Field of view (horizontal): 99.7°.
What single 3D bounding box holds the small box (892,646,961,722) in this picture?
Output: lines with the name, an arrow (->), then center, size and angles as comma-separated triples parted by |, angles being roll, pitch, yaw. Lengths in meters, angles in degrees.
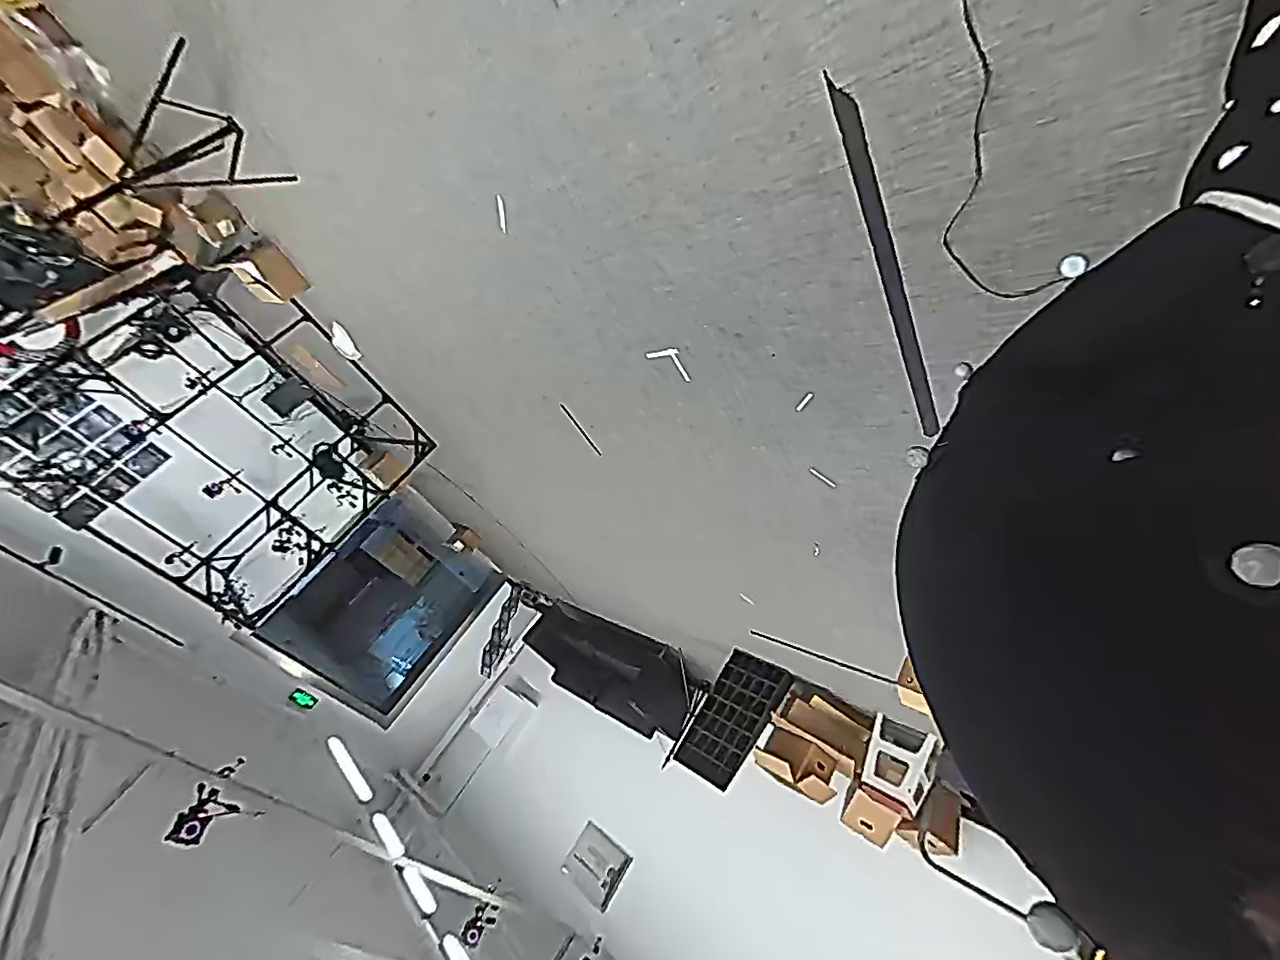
small box -> 1.035, 0.727, 1.942 | 0.179, 0.176, 0.168 | 14, 147, 43
